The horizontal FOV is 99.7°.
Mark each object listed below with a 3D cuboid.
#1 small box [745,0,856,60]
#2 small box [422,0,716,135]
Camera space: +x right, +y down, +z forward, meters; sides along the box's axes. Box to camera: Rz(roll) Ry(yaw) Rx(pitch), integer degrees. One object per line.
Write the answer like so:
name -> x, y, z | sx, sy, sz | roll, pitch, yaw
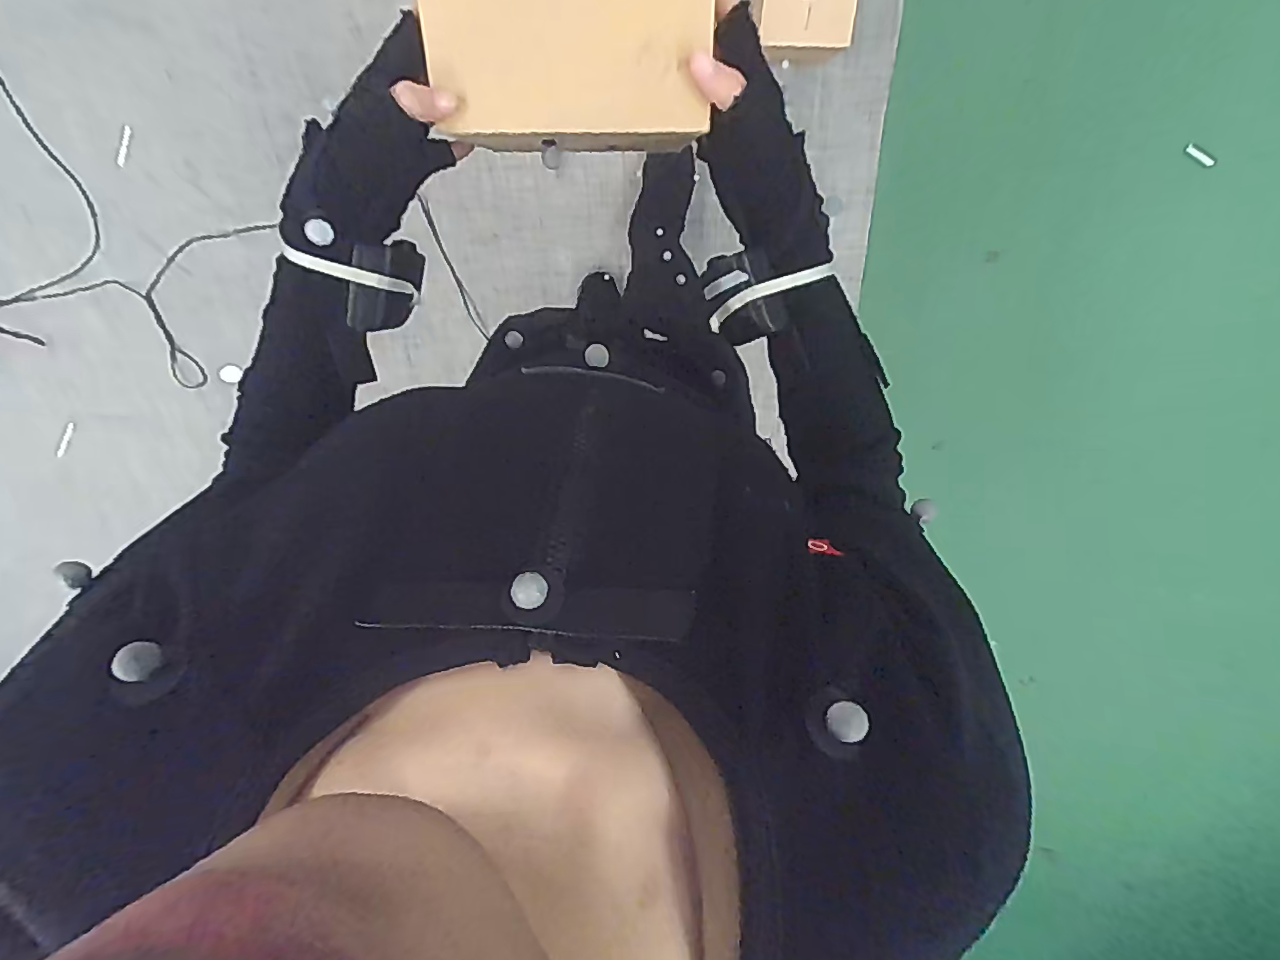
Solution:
small box -> 0.293, -0.896, 0.989 | 0.168, 0.176, 0.179 | 2, 121, 0
small box -> -0.040, -0.335, 0.352 | 0.168, 0.176, 0.179 | -1, 116, -2
